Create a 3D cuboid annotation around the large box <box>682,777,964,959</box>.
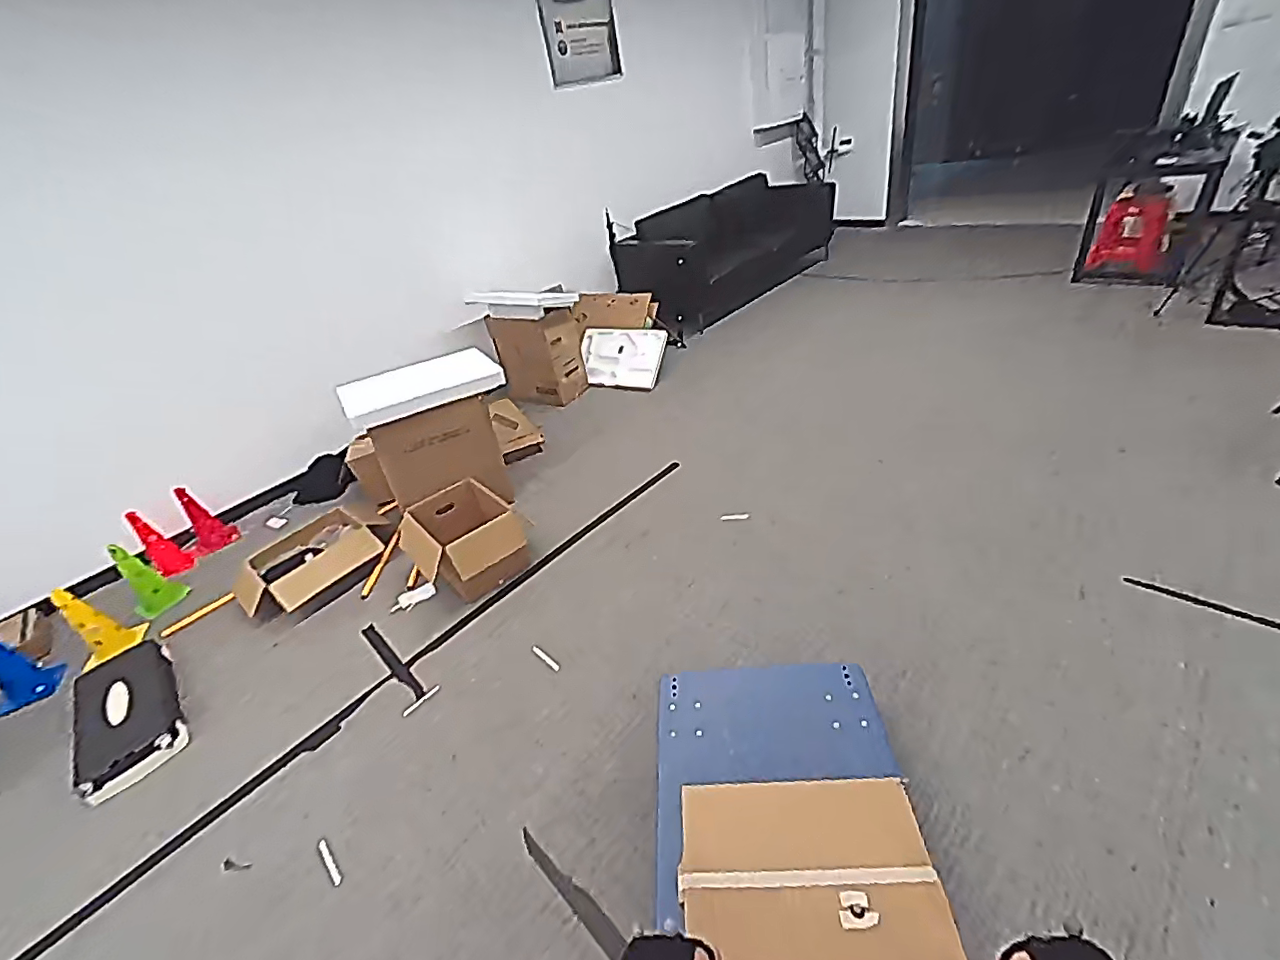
[{"bbox_3d":[0.292,0.776,0.968,0.408,0.320,0.320,-5,34,6],"label":"large box"}]
